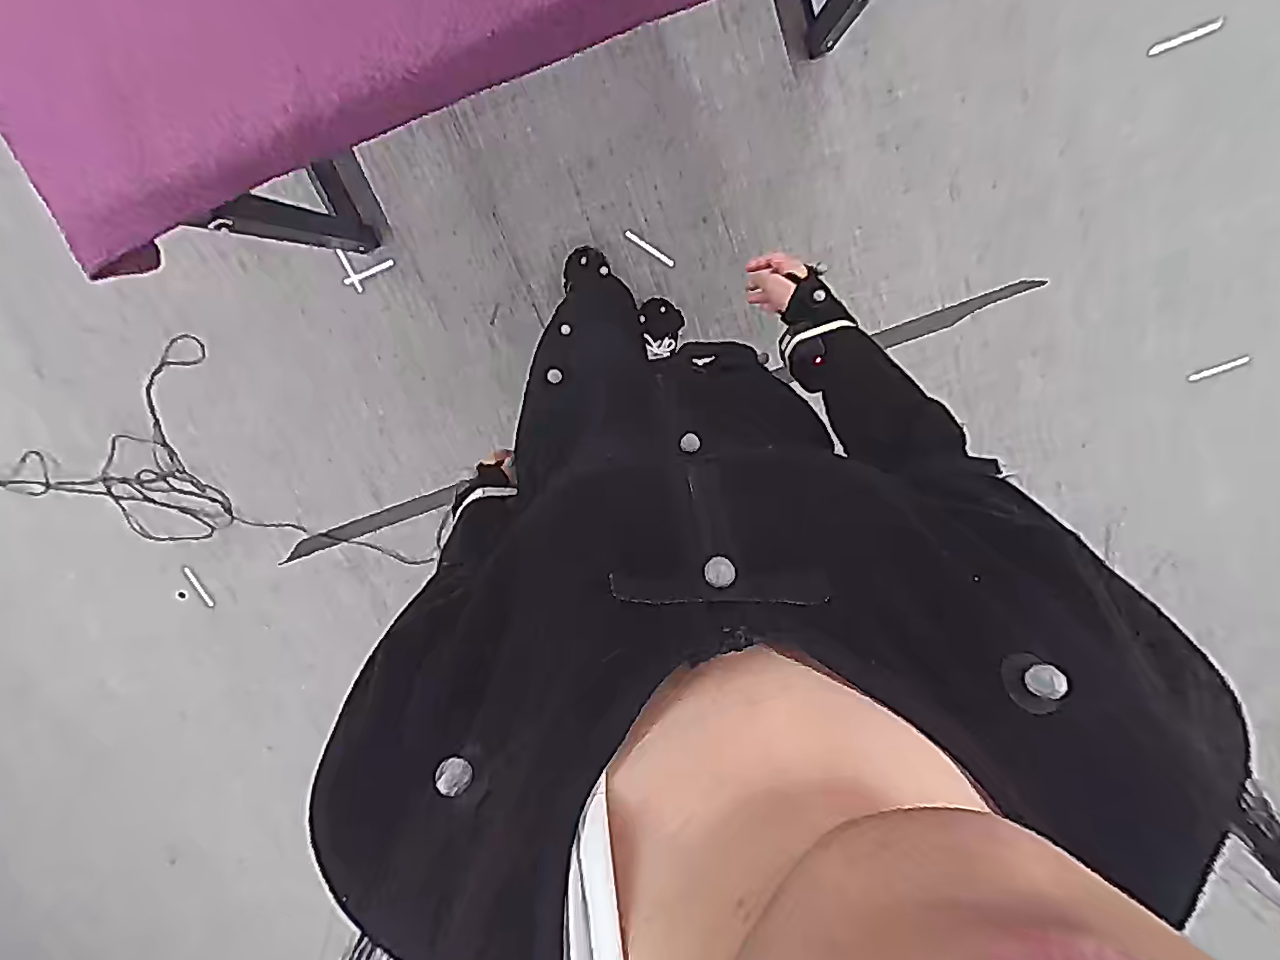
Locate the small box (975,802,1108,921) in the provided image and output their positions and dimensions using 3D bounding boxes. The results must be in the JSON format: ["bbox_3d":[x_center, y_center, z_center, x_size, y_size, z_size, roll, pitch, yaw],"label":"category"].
[{"bbox_3d":[1.012,0.965,1.381,0.179,0.176,0.168,24,106,-10],"label":"small box"}]
